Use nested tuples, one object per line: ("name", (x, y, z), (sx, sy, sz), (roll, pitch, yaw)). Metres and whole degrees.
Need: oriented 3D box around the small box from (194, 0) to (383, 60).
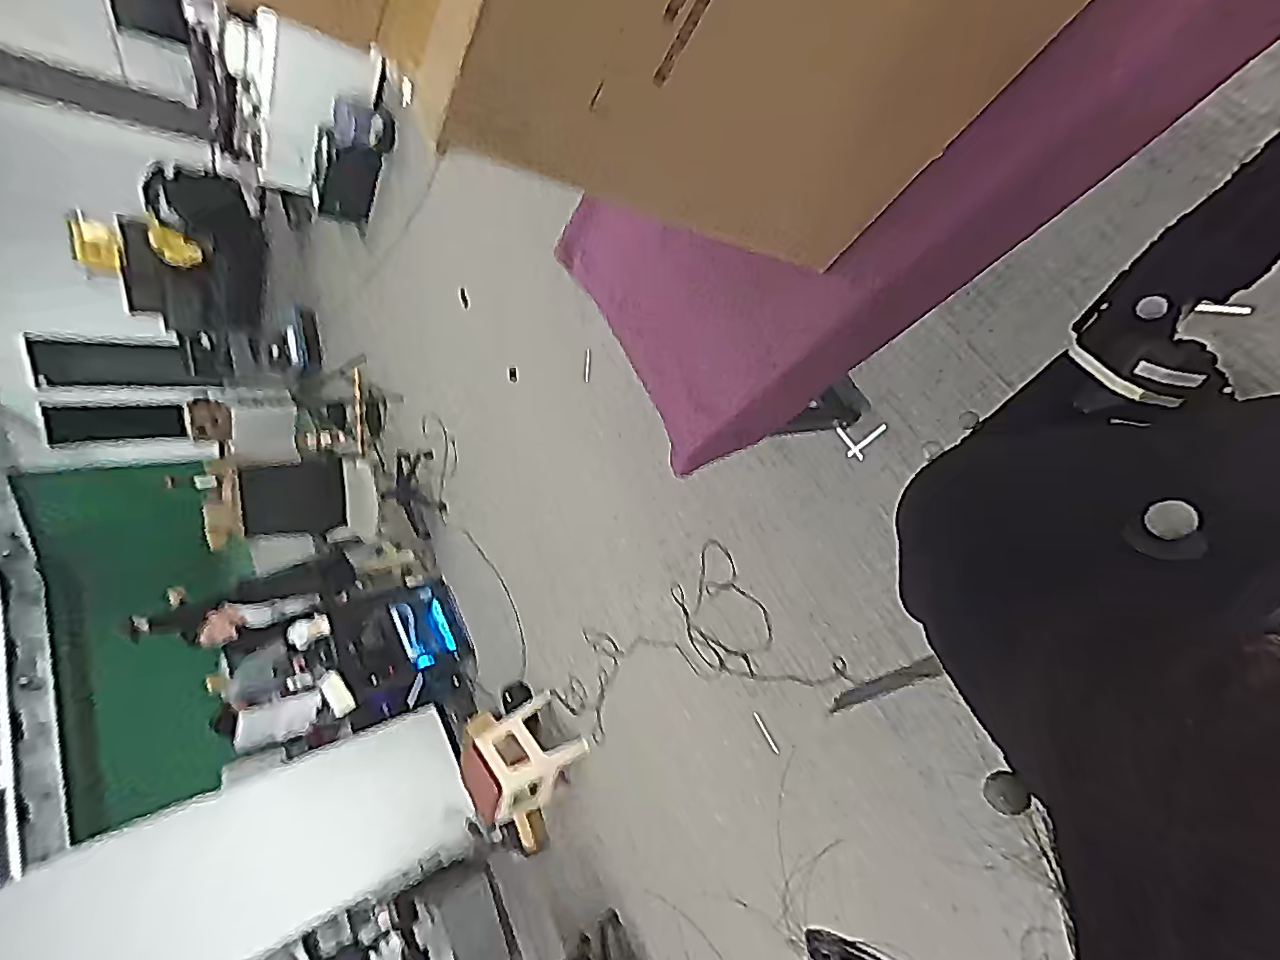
("small box", (-0.258, -0.433, 0.344), (0.179, 0.176, 0.168), (-37, 70, 43))
